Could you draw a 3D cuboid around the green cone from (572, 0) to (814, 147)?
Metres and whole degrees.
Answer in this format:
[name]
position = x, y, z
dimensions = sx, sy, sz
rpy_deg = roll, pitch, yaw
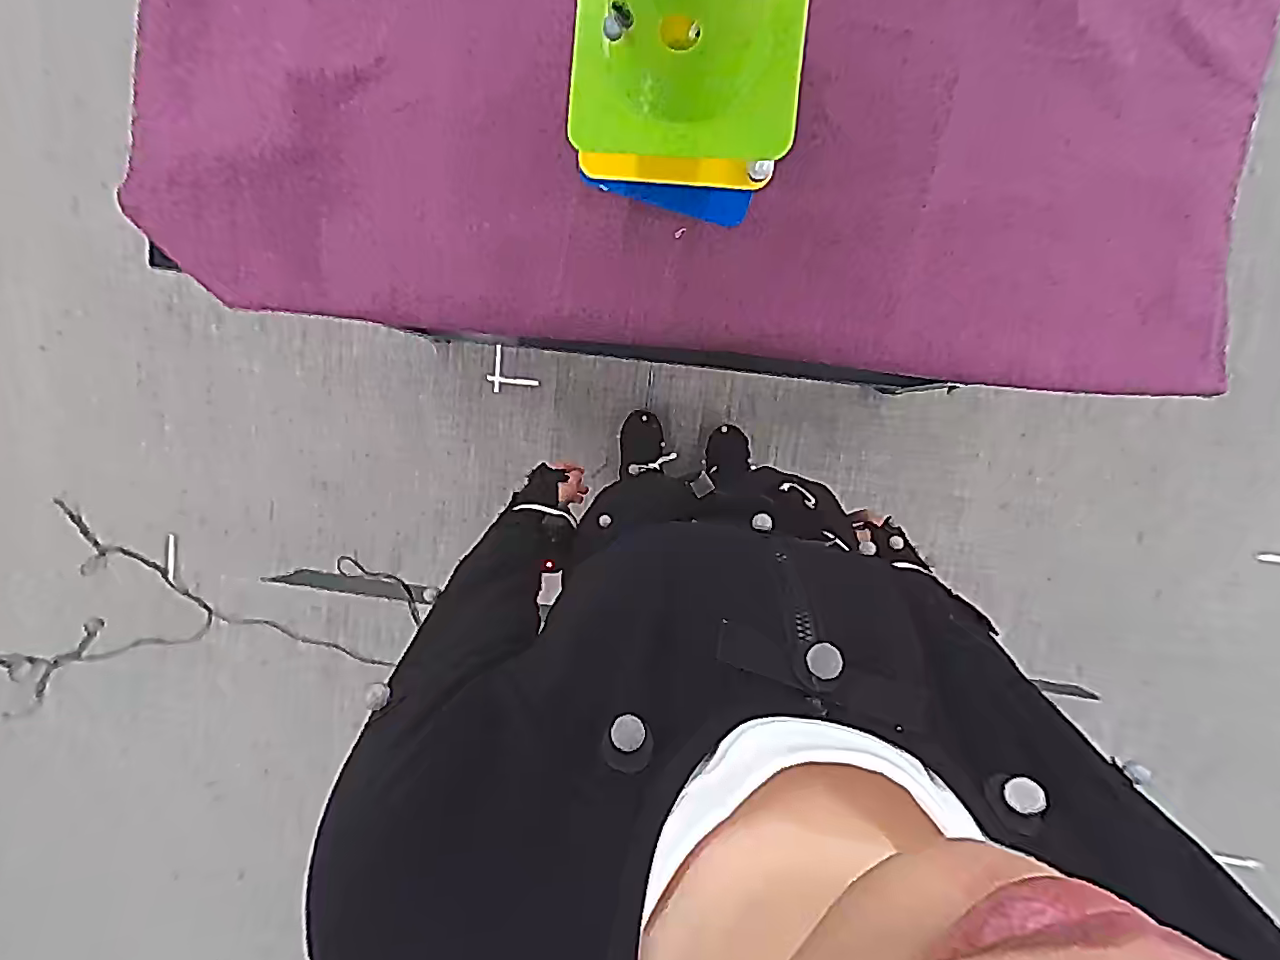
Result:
[green cone]
position = 0.027, -0.376, 0.289
dimensions = 0.200, 0.368, 0.202
rpy_deg = 5, 95, 6
